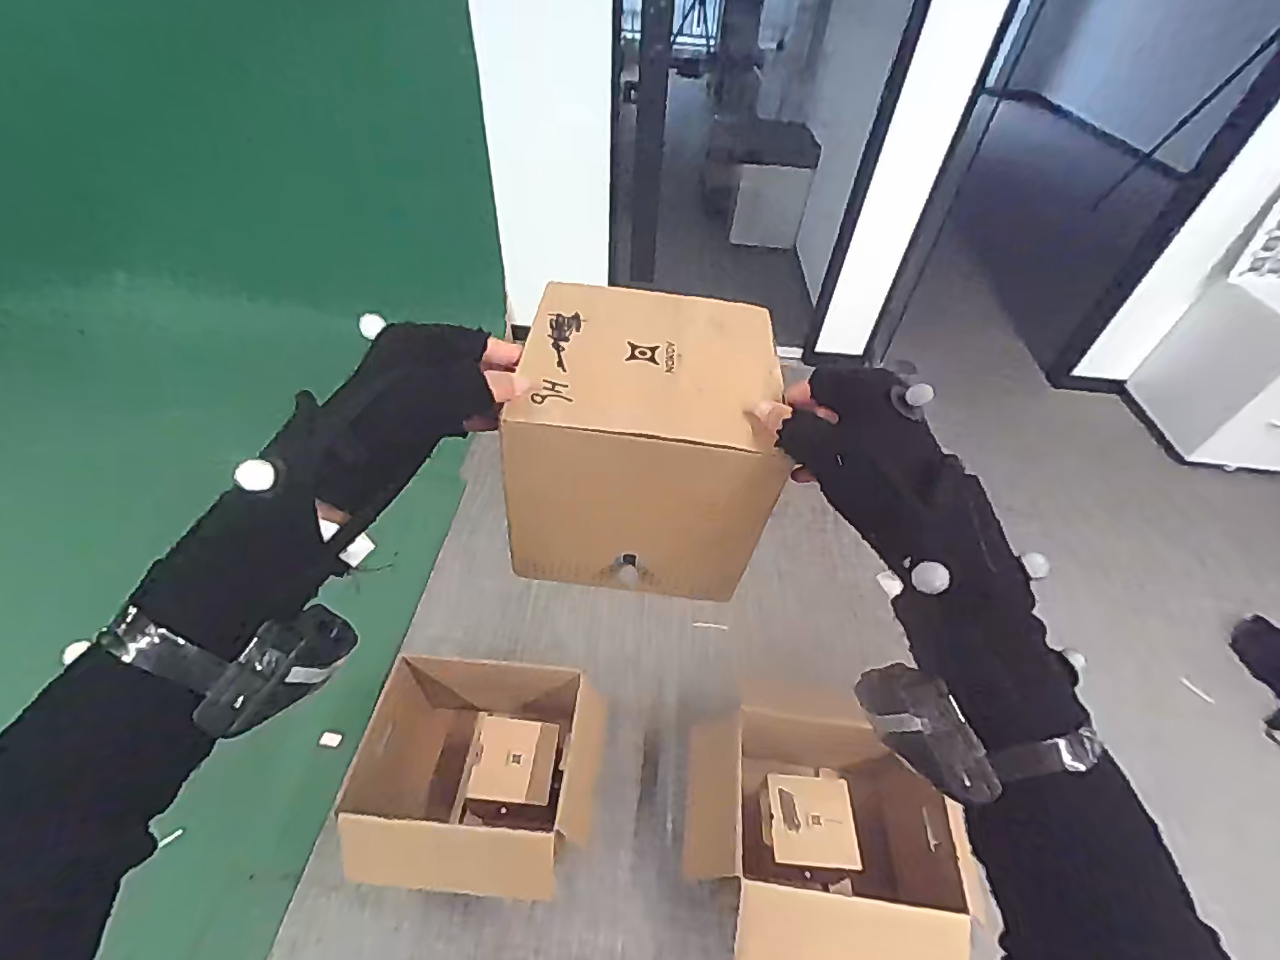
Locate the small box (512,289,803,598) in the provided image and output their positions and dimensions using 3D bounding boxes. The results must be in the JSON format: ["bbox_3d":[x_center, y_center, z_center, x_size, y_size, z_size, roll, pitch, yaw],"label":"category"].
[{"bbox_3d":[0.005,-0.023,0.426,0.179,0.176,0.168,6,47,-4],"label":"small box"}]
